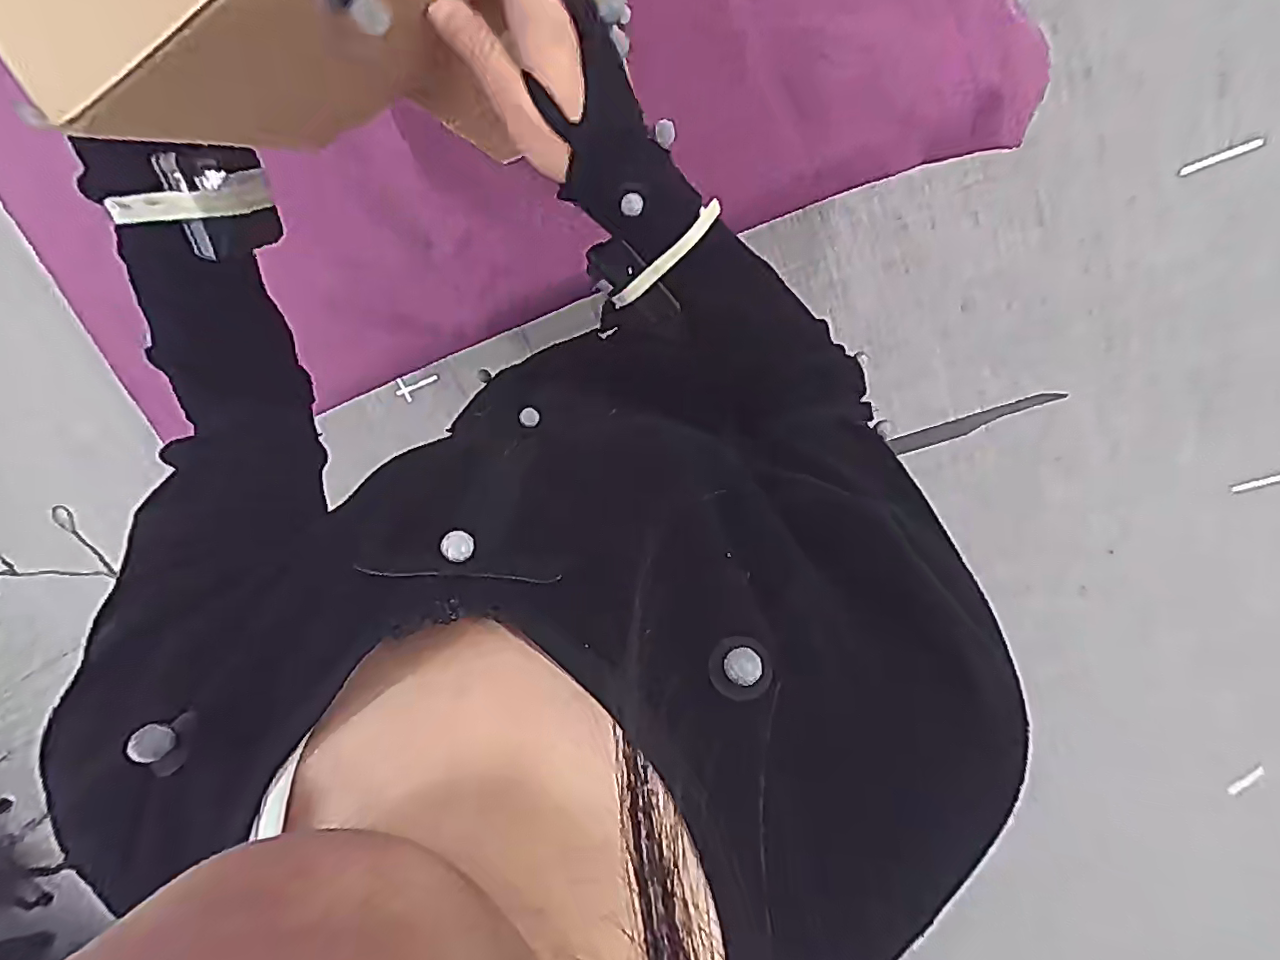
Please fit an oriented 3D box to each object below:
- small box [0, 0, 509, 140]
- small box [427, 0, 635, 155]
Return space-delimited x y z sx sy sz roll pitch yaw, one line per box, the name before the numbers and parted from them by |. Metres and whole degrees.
small box | -0.173 -0.274 0.227 0.179 0.176 0.168 -20 113 19
small box | -0.117 -0.452 0.532 0.179 0.176 0.168 -17 107 11
